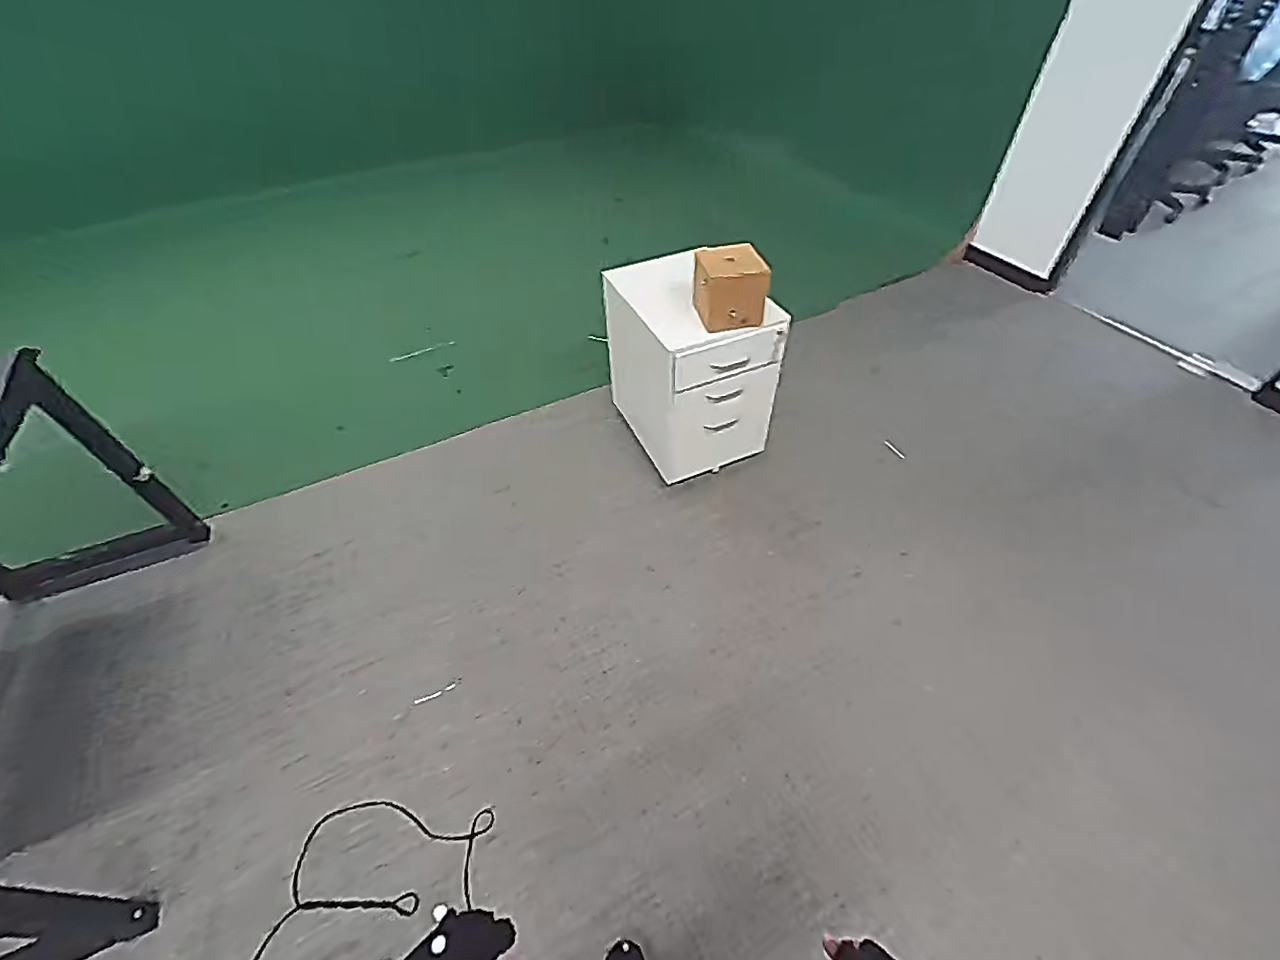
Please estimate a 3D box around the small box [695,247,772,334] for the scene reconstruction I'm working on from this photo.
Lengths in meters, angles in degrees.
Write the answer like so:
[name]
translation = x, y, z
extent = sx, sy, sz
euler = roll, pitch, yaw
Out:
[small box]
translation = 0.258, -0.539, 1.538
extent = 0.168, 0.176, 0.179
euler = -10, 48, -6
